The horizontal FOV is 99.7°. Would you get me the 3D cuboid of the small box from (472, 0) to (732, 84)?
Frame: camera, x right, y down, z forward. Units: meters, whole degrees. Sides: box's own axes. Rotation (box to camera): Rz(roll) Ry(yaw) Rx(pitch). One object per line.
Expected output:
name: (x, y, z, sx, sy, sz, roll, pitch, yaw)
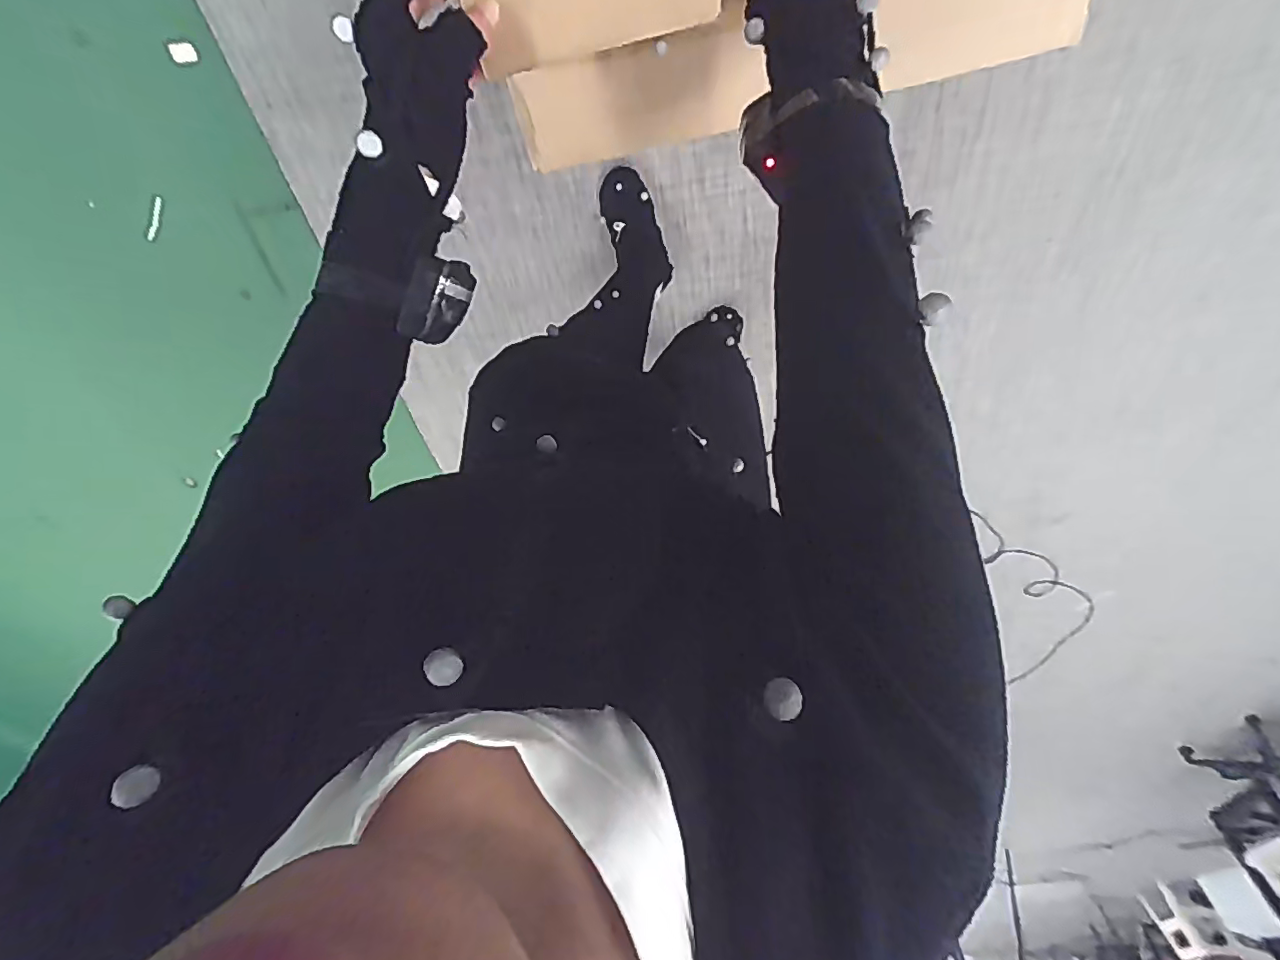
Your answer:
small box: (-0.036, -0.417, 0.395, 0.179, 0.176, 0.168, -9, 130, 9)
